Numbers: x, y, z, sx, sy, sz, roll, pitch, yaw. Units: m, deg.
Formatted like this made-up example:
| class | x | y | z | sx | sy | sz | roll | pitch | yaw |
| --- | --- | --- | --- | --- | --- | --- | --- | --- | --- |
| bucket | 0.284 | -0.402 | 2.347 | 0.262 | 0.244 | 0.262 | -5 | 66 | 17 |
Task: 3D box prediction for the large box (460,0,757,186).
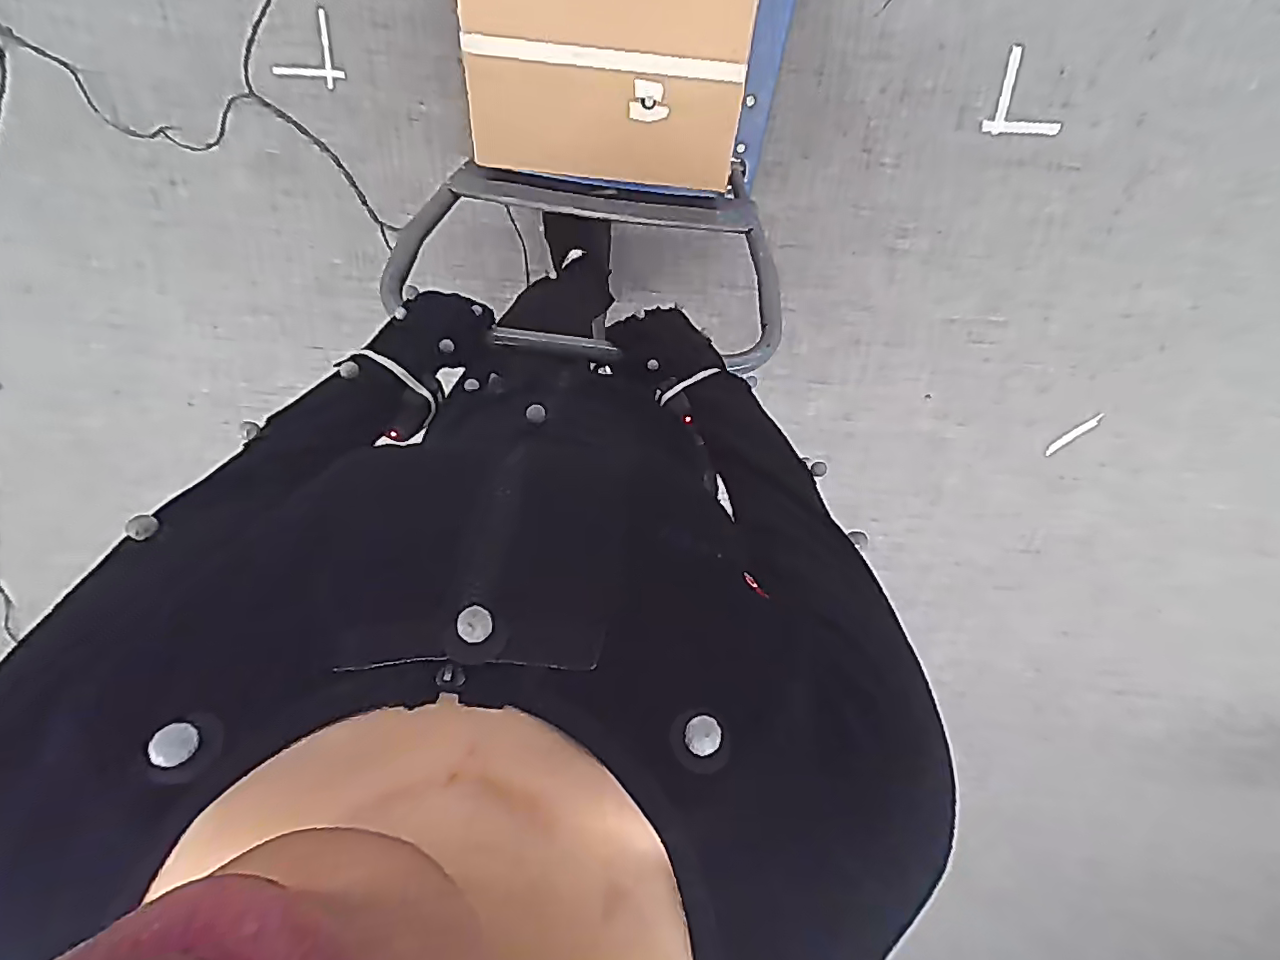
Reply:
| class | x | y | z | sx | sy | sz | roll | pitch | yaw |
| --- | --- | --- | --- | --- | --- | --- | --- | --- | --- |
| large box | -0.047 | -0.695 | 0.870 | 0.408 | 0.320 | 0.320 | 4 | 133 | -2 |
